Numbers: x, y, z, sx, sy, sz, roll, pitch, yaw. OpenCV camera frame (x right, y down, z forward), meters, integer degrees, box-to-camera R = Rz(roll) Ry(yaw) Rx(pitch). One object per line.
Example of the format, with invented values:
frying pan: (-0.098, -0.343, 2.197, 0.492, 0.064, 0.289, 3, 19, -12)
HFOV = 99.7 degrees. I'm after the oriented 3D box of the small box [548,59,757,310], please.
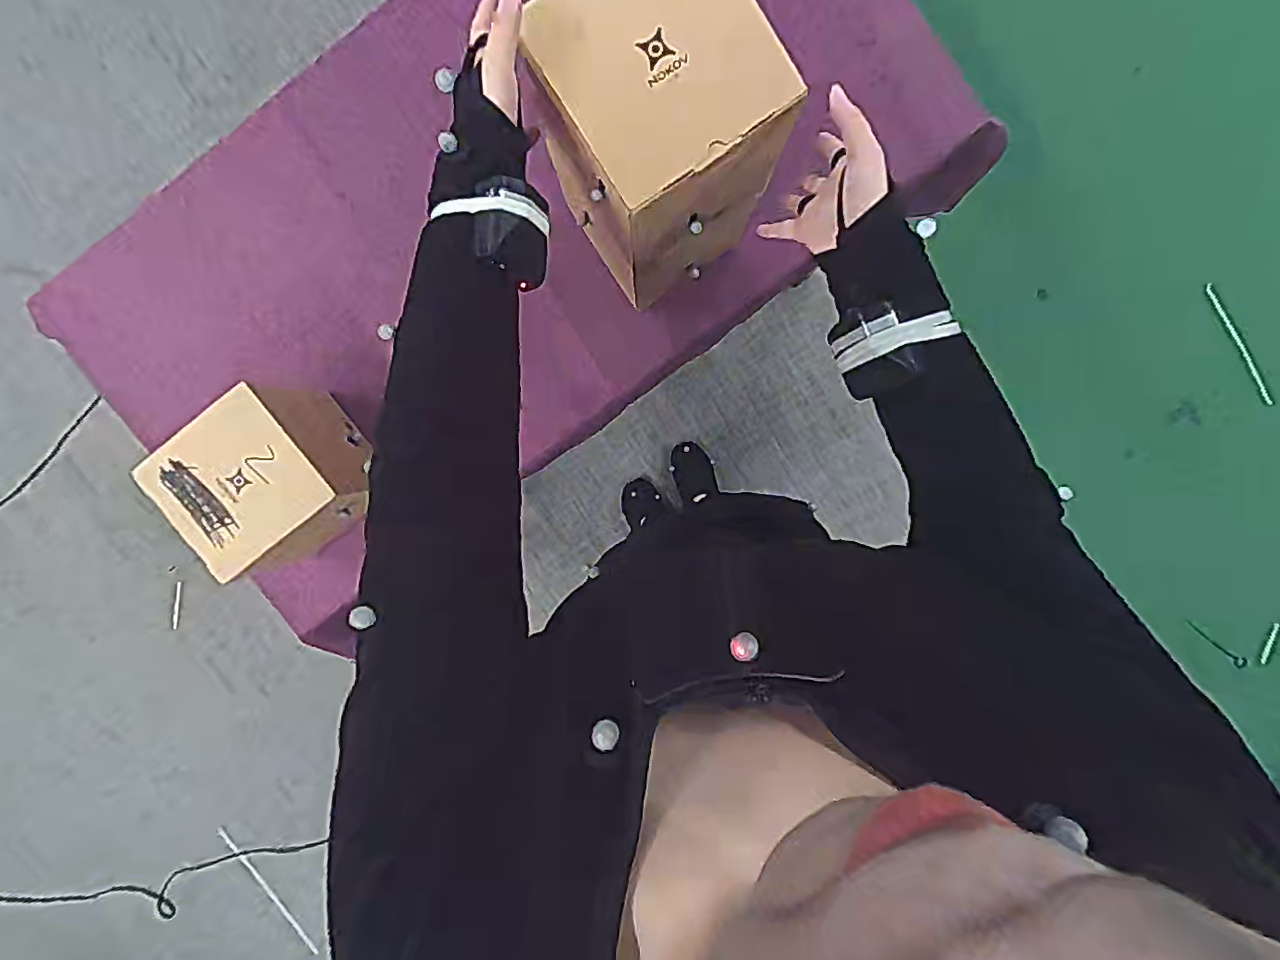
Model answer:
small box: (0.014, -0.336, 0.657, 0.168, 0.176, 0.179, -33, 94, 4)
